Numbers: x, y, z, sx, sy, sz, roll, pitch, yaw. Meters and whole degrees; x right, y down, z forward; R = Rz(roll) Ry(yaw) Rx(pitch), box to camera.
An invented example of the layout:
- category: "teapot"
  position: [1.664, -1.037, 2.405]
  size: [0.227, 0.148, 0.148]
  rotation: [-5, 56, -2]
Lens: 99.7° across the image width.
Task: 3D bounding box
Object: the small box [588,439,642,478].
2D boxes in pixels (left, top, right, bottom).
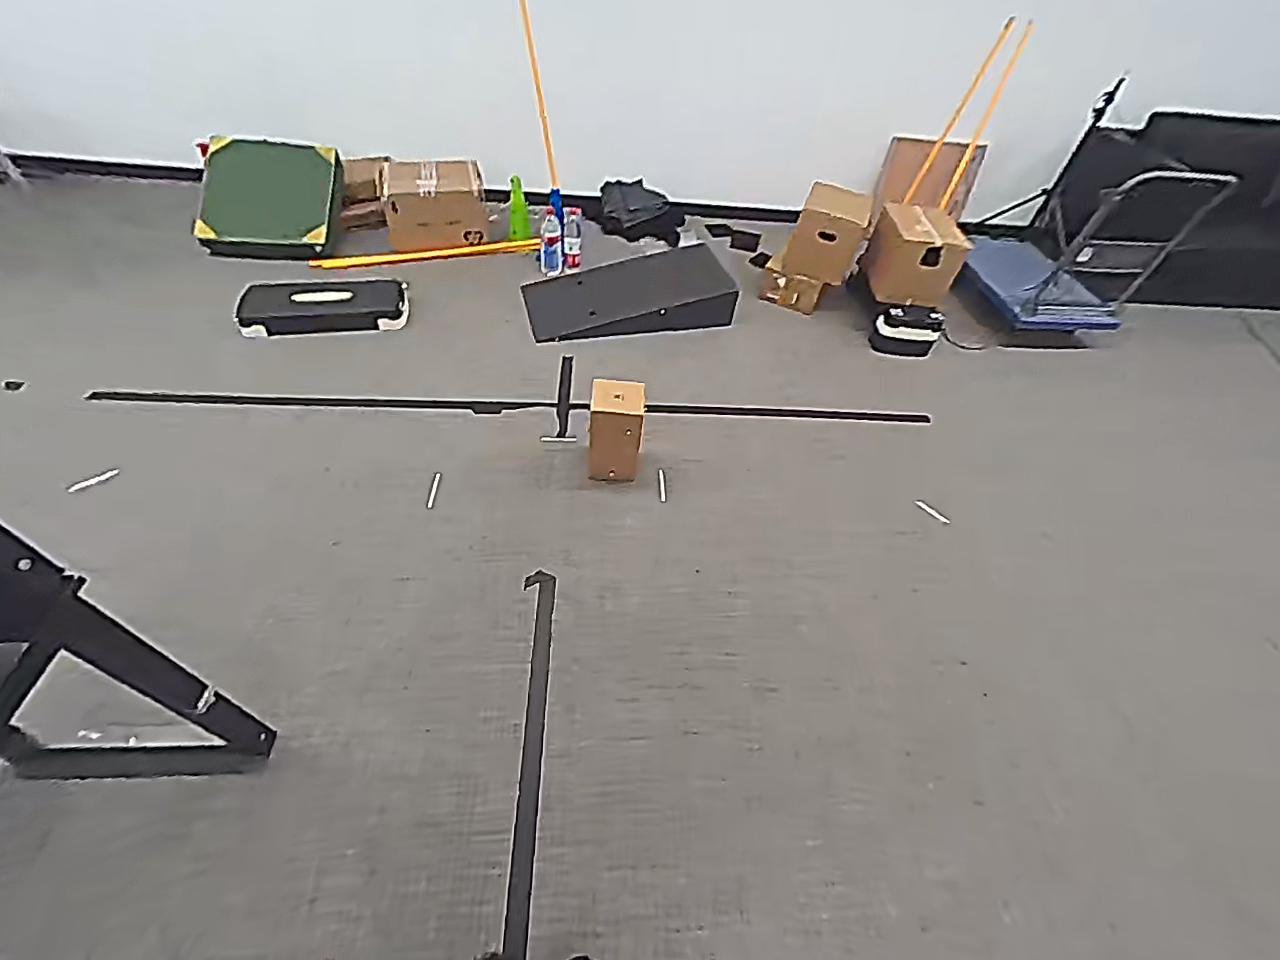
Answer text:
- category: "small box"
  position: [-0.092, -0.120, 1.952]
  size: [0.179, 0.176, 0.168]
  rotation: [4, 49, -5]

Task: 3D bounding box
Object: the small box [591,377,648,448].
- category: "small box"
  position: [-0.070, -0.225, 1.828]
  size: [0.179, 0.176, 0.168]
  rotation: [5, 49, -2]
